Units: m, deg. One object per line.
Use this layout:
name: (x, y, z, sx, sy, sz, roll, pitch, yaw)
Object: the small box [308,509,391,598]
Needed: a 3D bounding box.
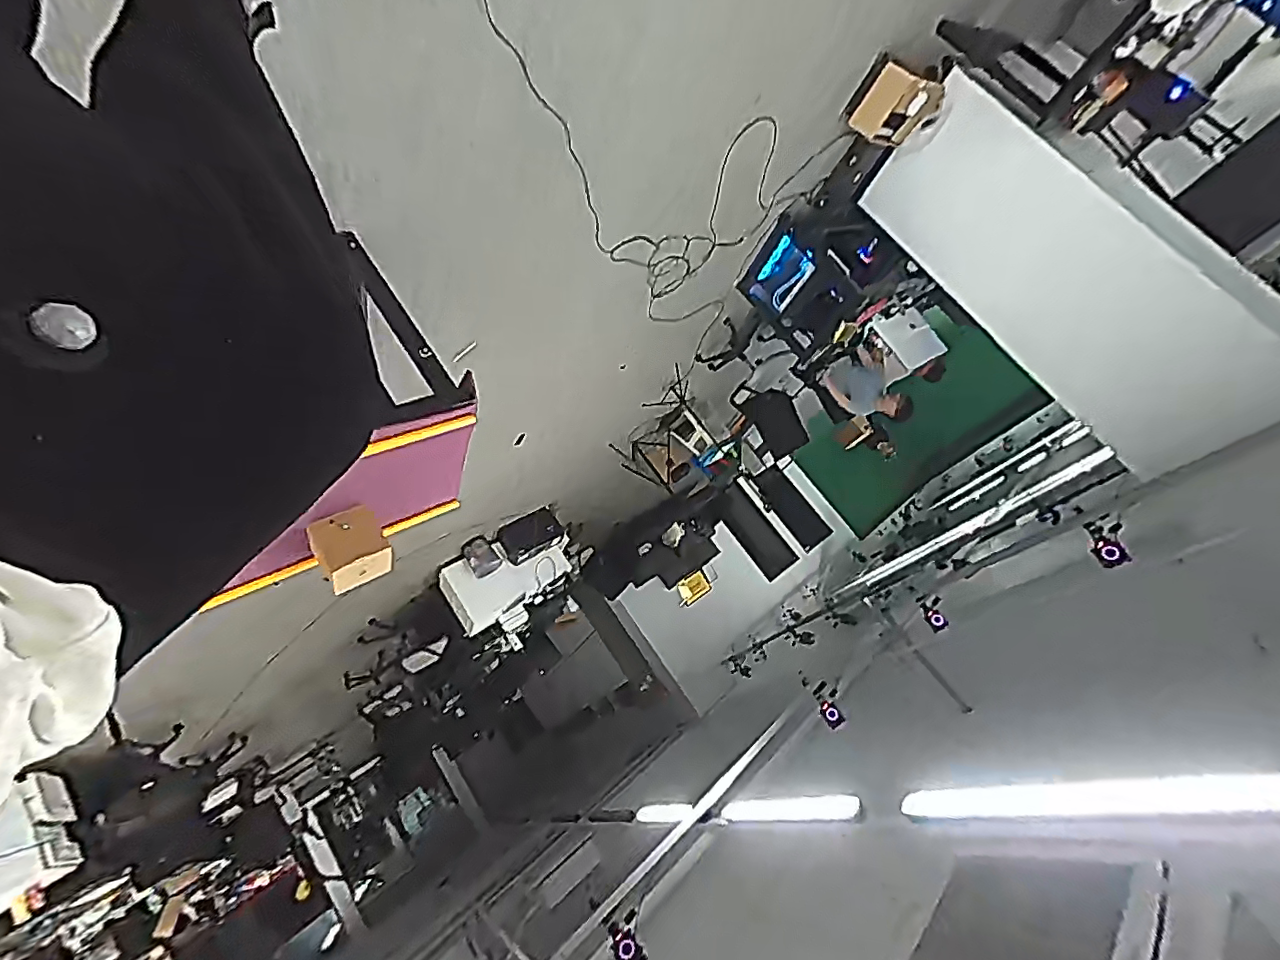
small box: (-0.858, 0.214, 1.602, 0.168, 0.176, 0.179, -26, 161, -36)
